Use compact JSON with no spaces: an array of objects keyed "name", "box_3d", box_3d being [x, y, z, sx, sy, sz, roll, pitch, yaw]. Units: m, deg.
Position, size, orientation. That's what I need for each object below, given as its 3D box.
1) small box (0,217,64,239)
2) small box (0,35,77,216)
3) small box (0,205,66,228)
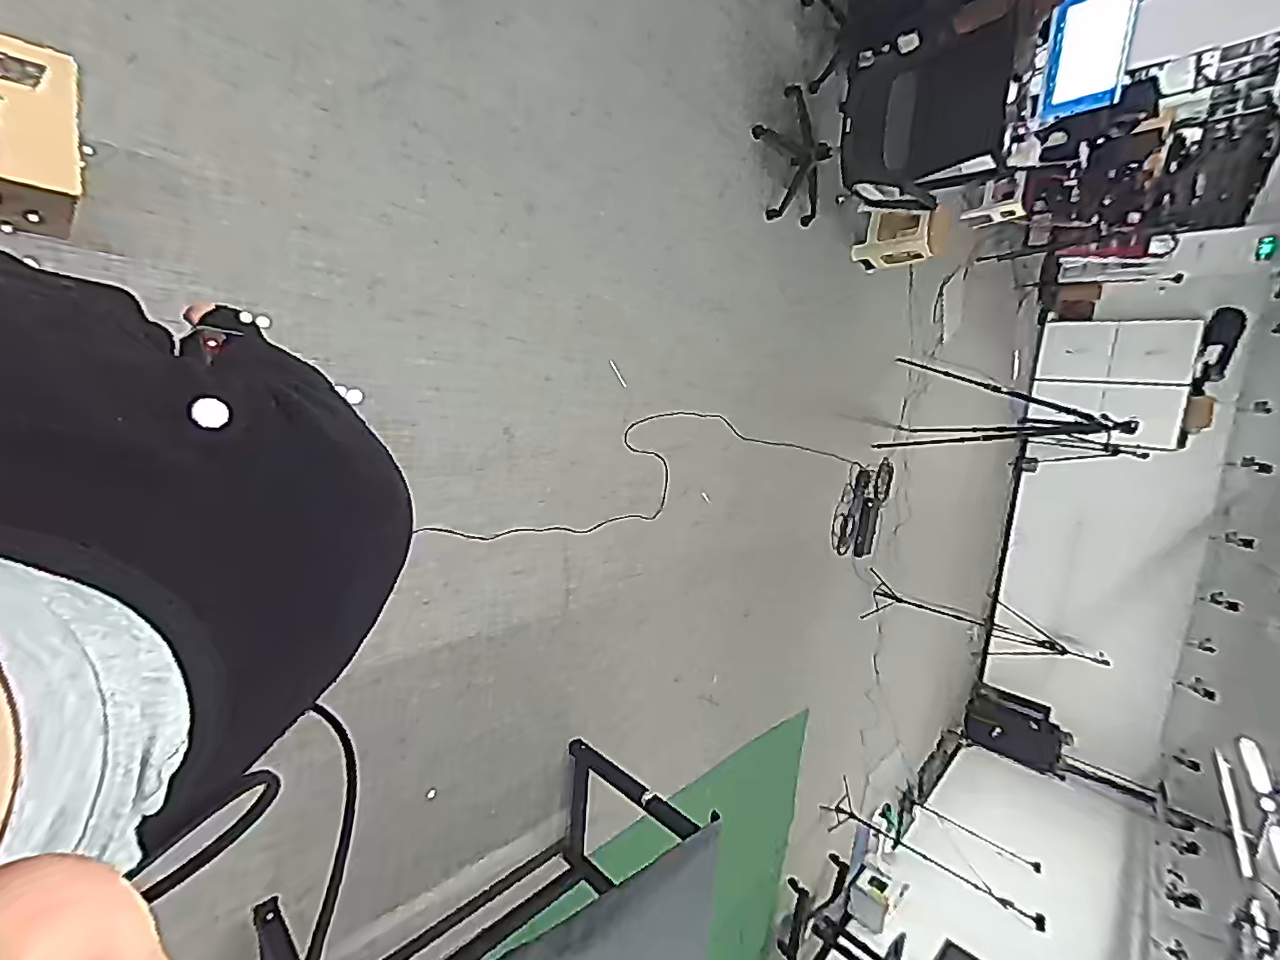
[{"name":"small box","box_3d":[-1.099,-0.521,0.913,0.168,0.176,0.179,-6,104,-48]},{"name":"small box","box_3d":[-0.857,-0.467,0.701,0.168,0.176,0.179,-3,103,-48]},{"name":"small box","box_3d":[-0.980,-0.496,0.807,0.168,0.176,0.179,-5,101,-48]}]
